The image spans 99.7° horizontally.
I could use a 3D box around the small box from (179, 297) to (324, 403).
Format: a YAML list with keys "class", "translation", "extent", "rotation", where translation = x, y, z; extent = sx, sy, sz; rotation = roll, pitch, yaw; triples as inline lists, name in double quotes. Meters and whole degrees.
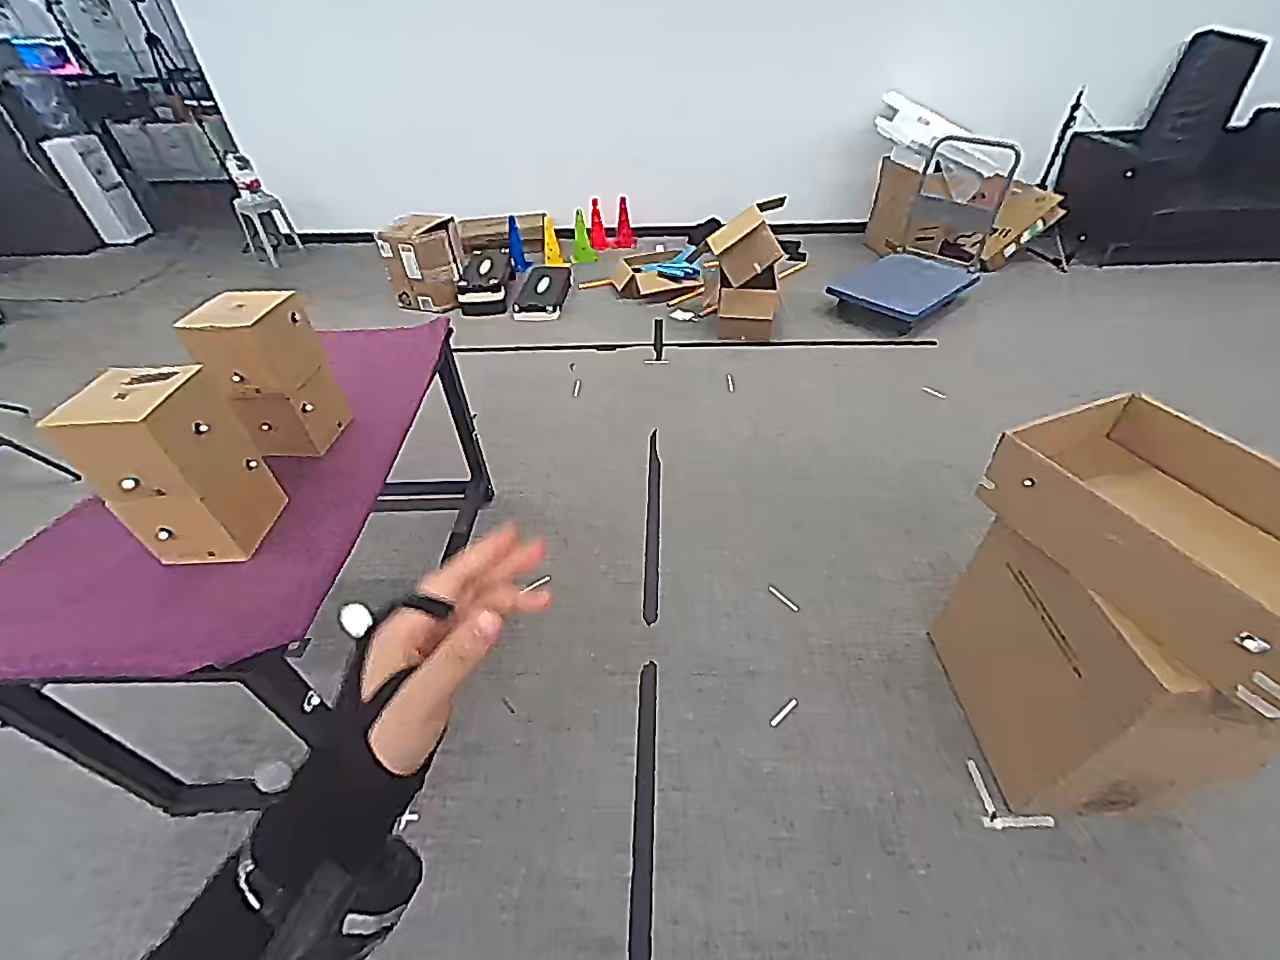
- class: "small box"
  translation: [-0.827, -0.284, 1.179]
  extent: [0.168, 0.176, 0.179]
  rotation: [0, 42, 4]

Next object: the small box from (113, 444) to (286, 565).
- class: "small box"
  translation: [-0.834, 0.052, 1.051]
  extent: [0.168, 0.176, 0.179]
  rotation: [-3, 41, -1]

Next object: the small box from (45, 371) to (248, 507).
- class: "small box"
  translation: [-0.834, -0.073, 0.944]
  extent: [0.168, 0.176, 0.179]
  rotation: [-3, 41, 0]
